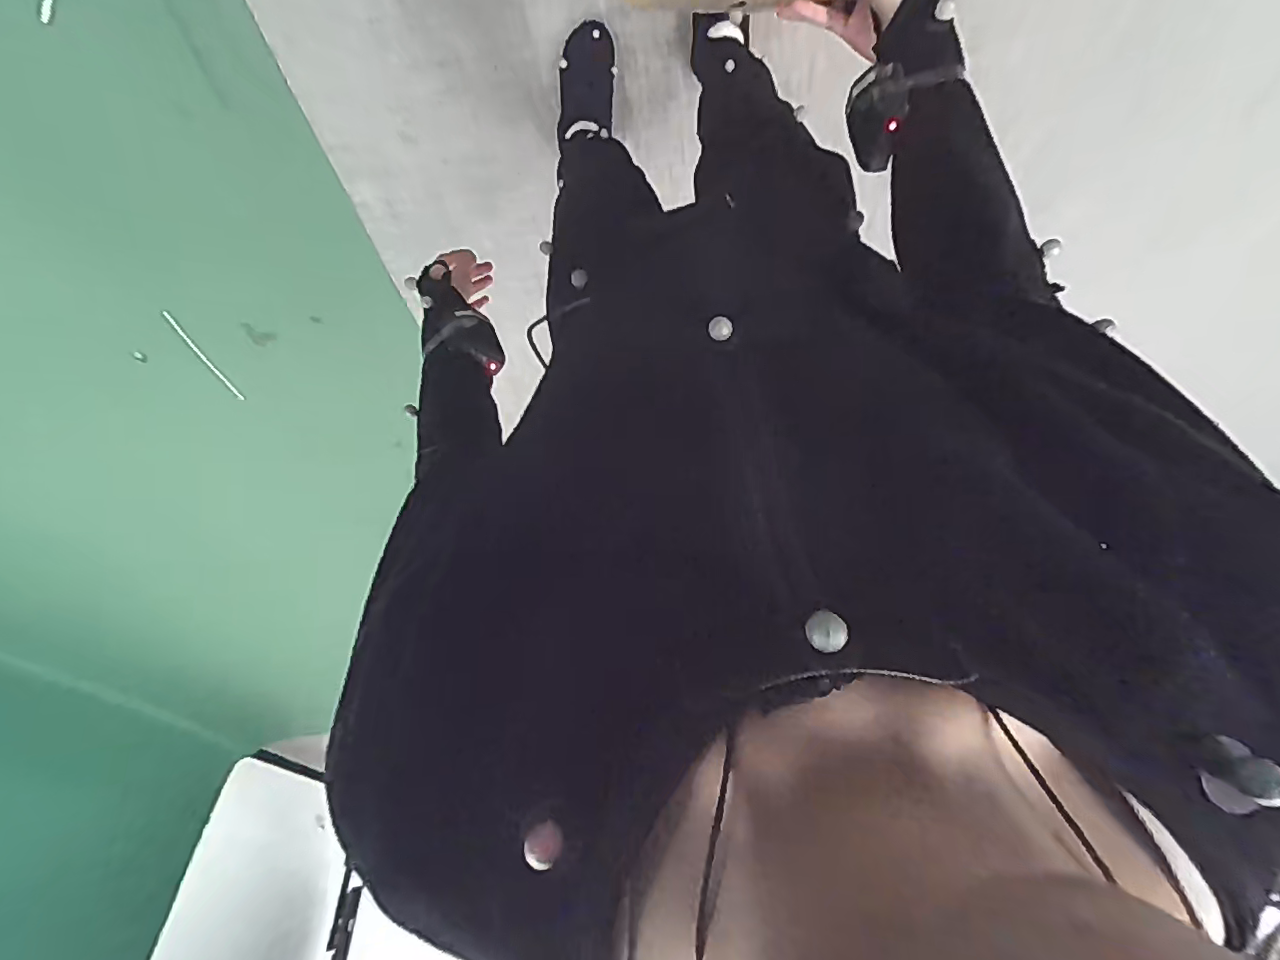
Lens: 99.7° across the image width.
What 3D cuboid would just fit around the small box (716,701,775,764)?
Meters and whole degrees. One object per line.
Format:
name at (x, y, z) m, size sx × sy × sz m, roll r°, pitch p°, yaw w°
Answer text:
small box at (0.351, 0.861, 1.831) m, size 0.168 × 0.176 × 0.179 m, roll -6°, pitch 140°, yaw 2°

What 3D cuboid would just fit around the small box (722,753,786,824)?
small box at (0.354, 0.974, 1.713) m, size 0.168 × 0.176 × 0.179 m, roll -6°, pitch 141°, yaw 2°
